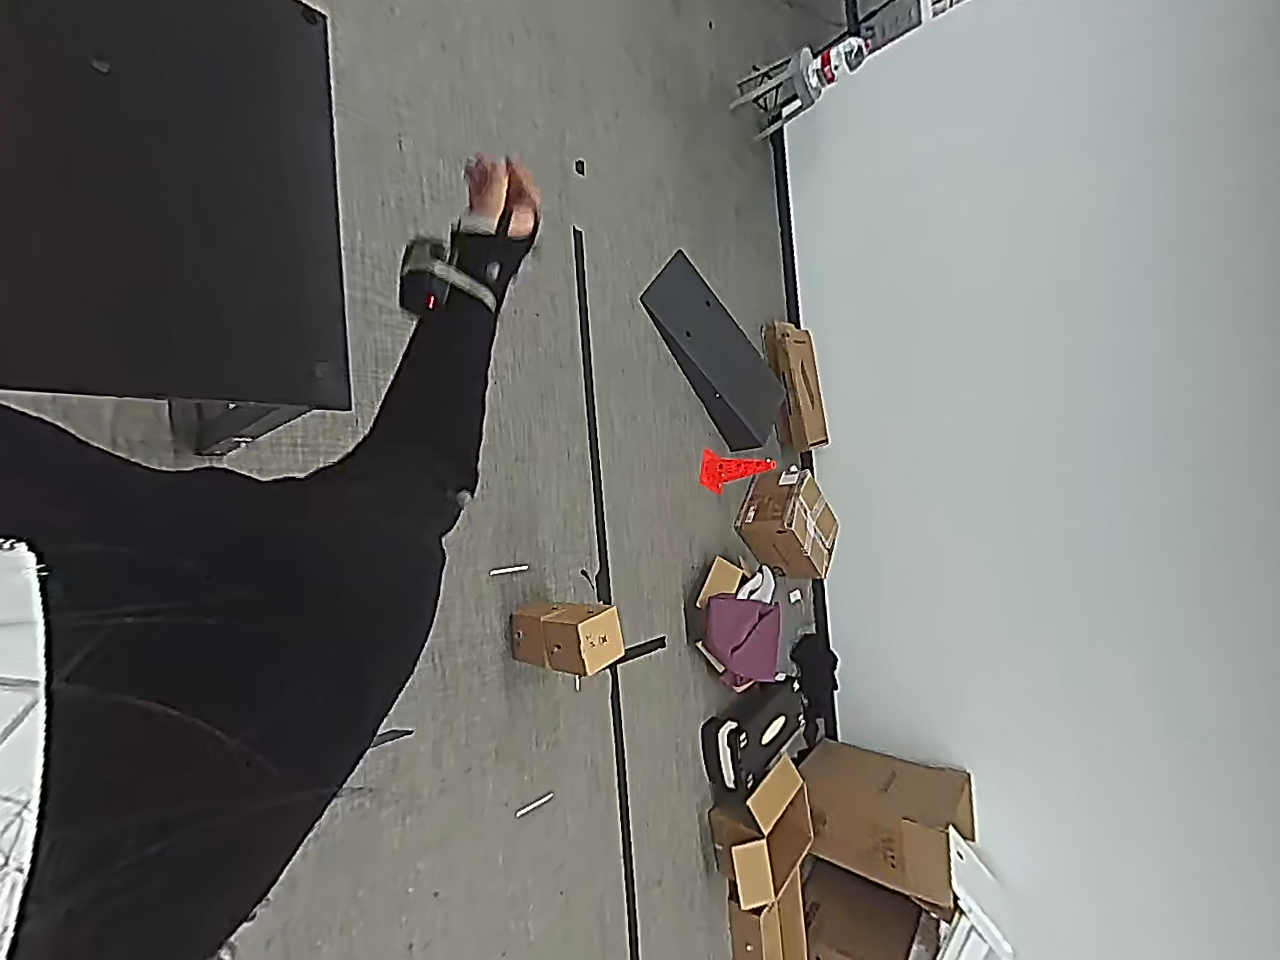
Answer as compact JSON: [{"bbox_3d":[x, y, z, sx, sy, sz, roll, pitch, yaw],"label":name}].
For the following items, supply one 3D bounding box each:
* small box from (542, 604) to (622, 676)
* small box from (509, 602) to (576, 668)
[{"bbox_3d":[-0.185,0.502,1.724,0.179,0.176,0.168,-14,94,-49],"label":"small box"},{"bbox_3d":[-0.318,0.514,1.822,0.179,0.176,0.168,-6,89,-48],"label":"small box"}]
